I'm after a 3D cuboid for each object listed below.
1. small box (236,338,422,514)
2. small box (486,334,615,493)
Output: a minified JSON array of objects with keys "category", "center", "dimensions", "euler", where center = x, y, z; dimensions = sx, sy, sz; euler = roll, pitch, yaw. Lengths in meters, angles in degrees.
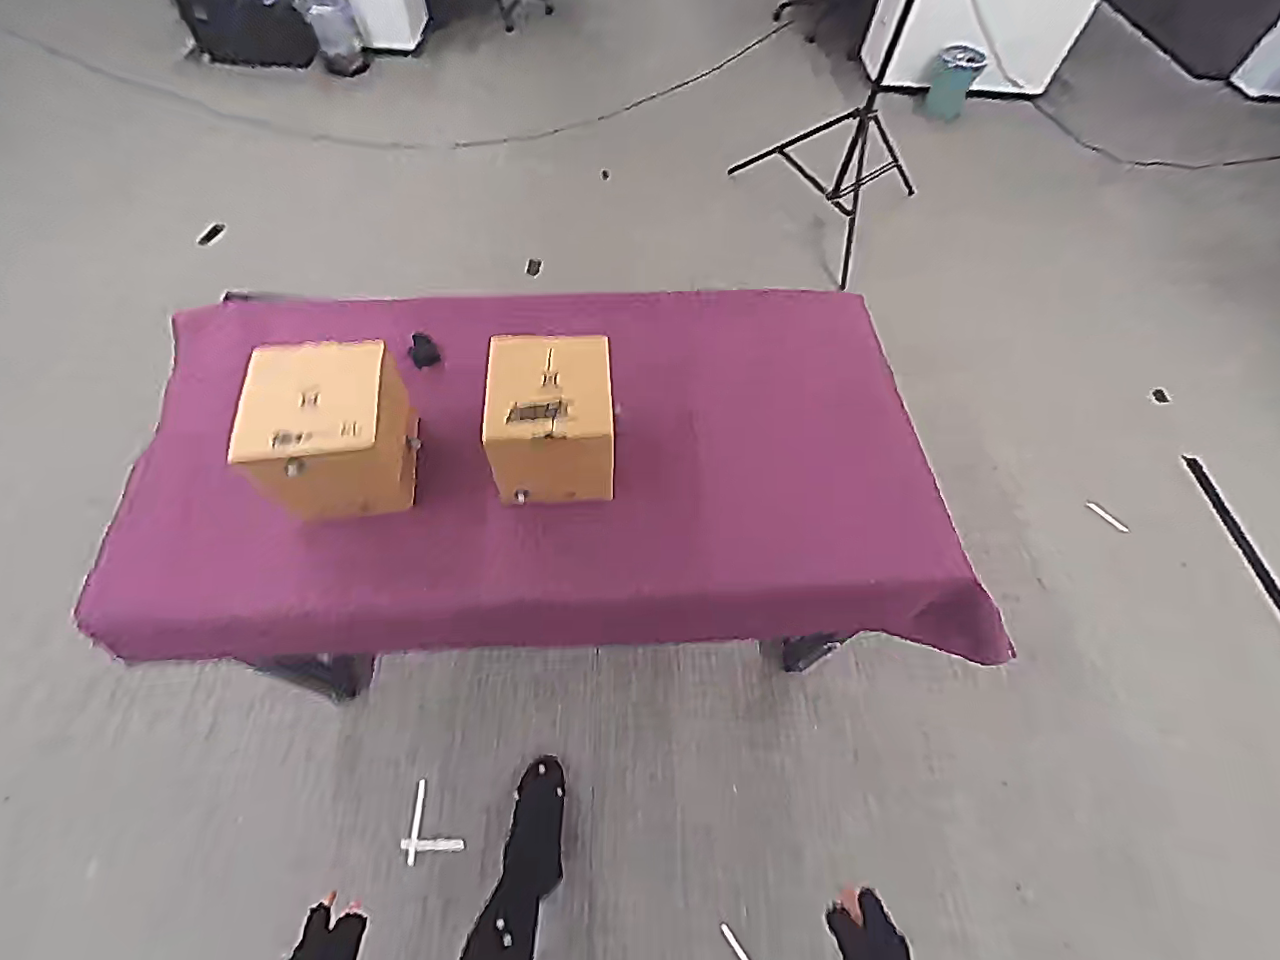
[{"category":"small box","center":[-0.414,-0.073,0.756],"dimensions":[0.168,0.176,0.179],"euler":[-6,59,-8]},{"category":"small box","center":[-0.121,-0.091,0.791],"dimensions":[0.168,0.176,0.179],"euler":[-1,58,-5]}]
